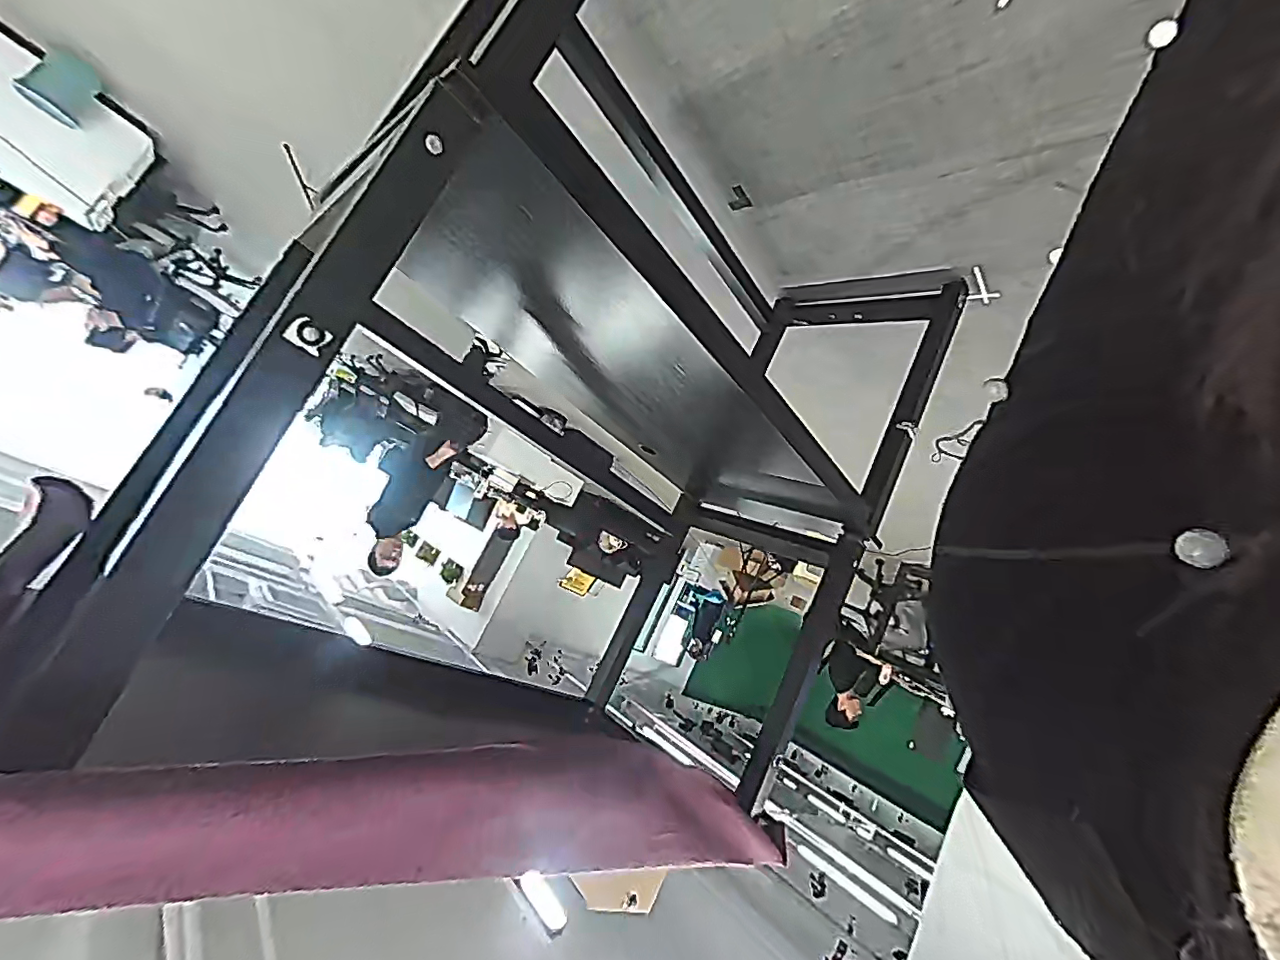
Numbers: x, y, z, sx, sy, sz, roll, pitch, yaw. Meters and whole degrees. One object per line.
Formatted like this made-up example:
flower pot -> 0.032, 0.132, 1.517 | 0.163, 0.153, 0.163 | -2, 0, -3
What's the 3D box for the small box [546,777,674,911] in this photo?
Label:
small box -> -0.059, 0.743, 1.123 | 0.168, 0.176, 0.179 | 33, 168, -33
